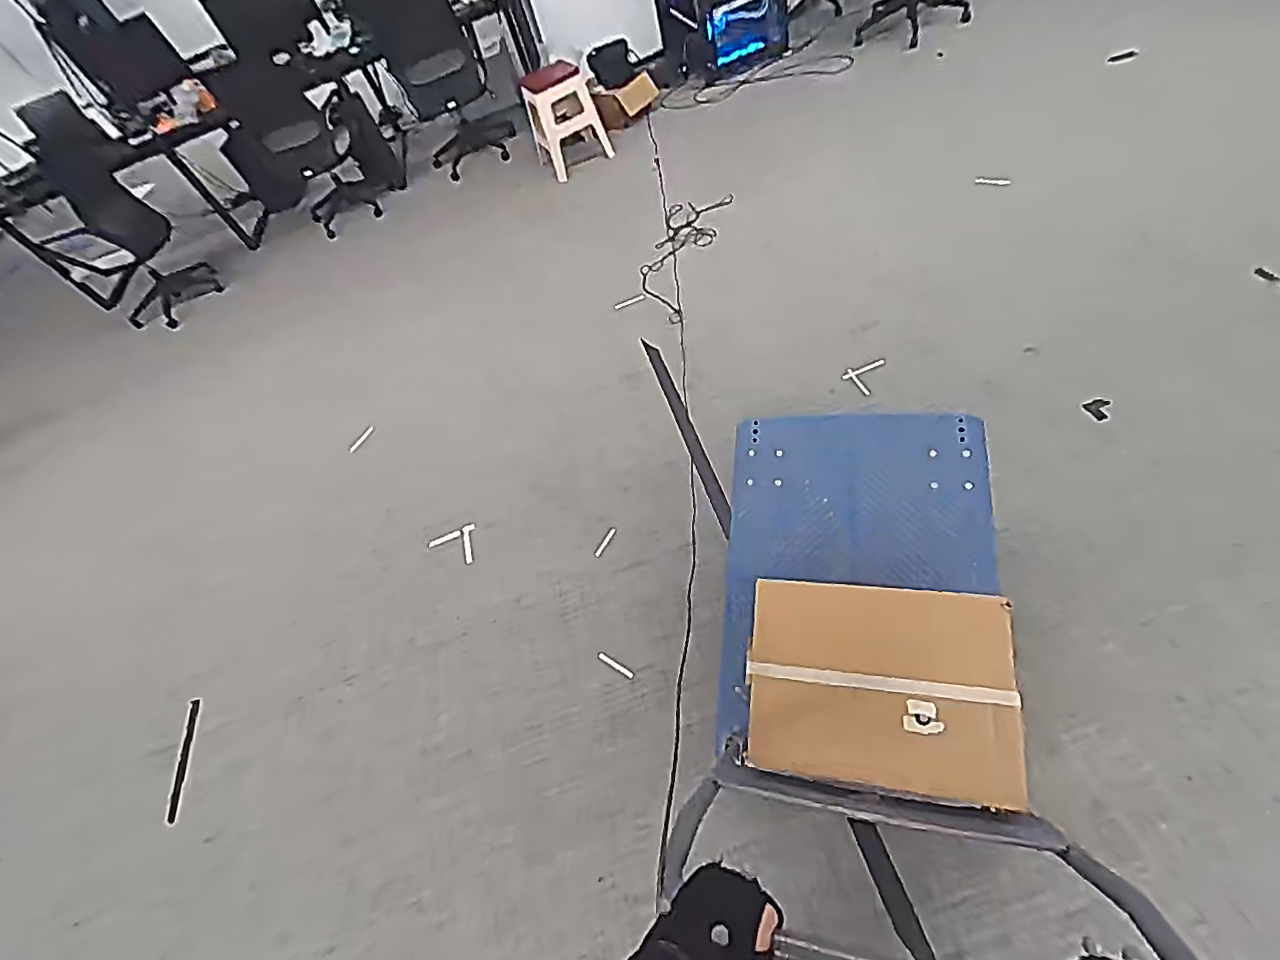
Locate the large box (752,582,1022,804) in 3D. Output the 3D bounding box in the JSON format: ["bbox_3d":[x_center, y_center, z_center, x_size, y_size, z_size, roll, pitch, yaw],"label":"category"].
[{"bbox_3d":[0.432,0.387,1.040,0.408,0.320,0.320,1,72,17],"label":"large box"}]
